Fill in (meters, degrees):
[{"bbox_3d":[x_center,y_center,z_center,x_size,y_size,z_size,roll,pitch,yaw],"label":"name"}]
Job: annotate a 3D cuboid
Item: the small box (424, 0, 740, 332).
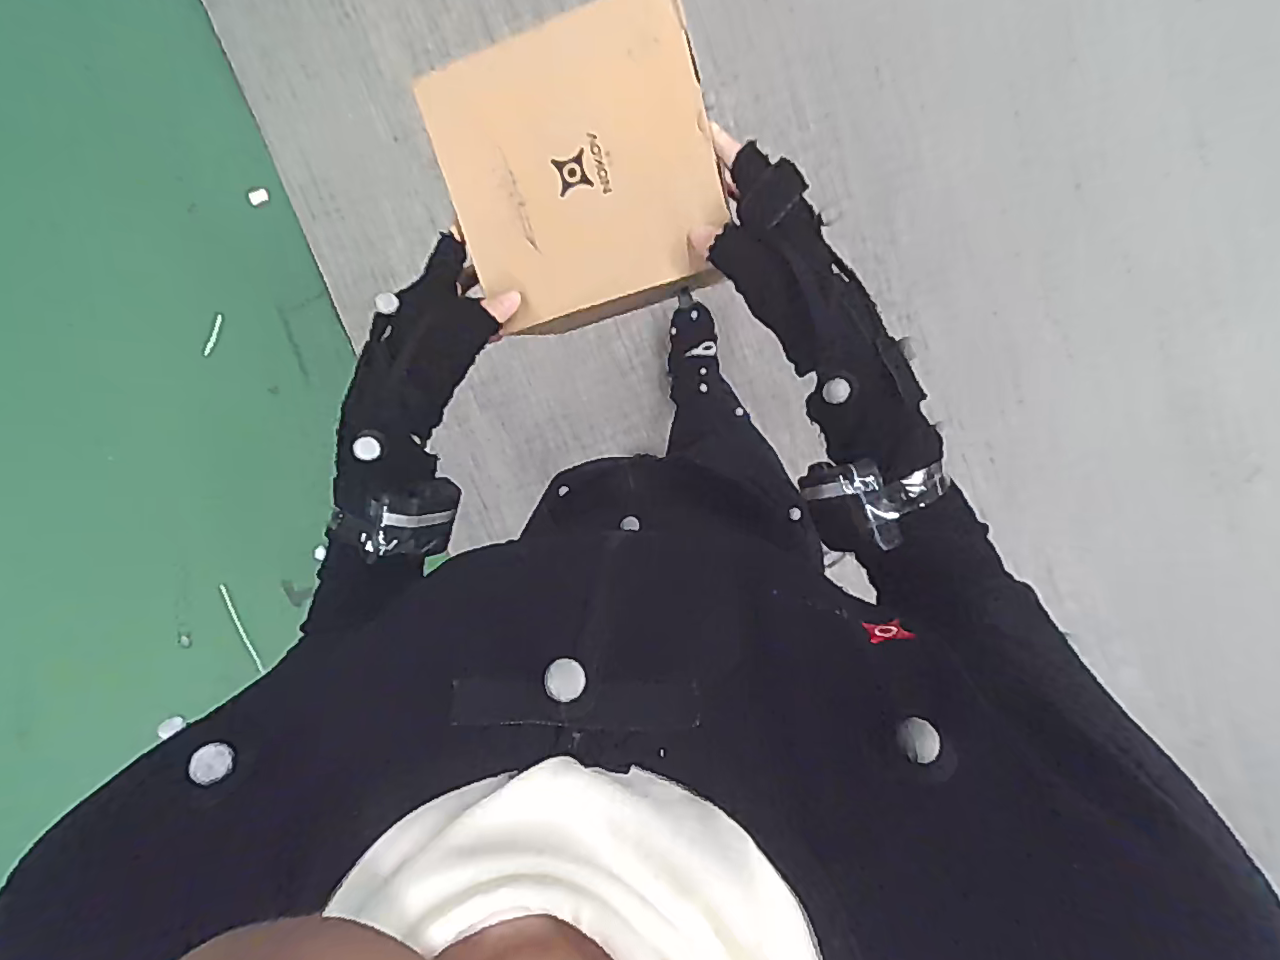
[{"bbox_3d":[-0.029,-0.225,0.432,0.179,0.176,0.168,-15,102,12],"label":"small box"}]
